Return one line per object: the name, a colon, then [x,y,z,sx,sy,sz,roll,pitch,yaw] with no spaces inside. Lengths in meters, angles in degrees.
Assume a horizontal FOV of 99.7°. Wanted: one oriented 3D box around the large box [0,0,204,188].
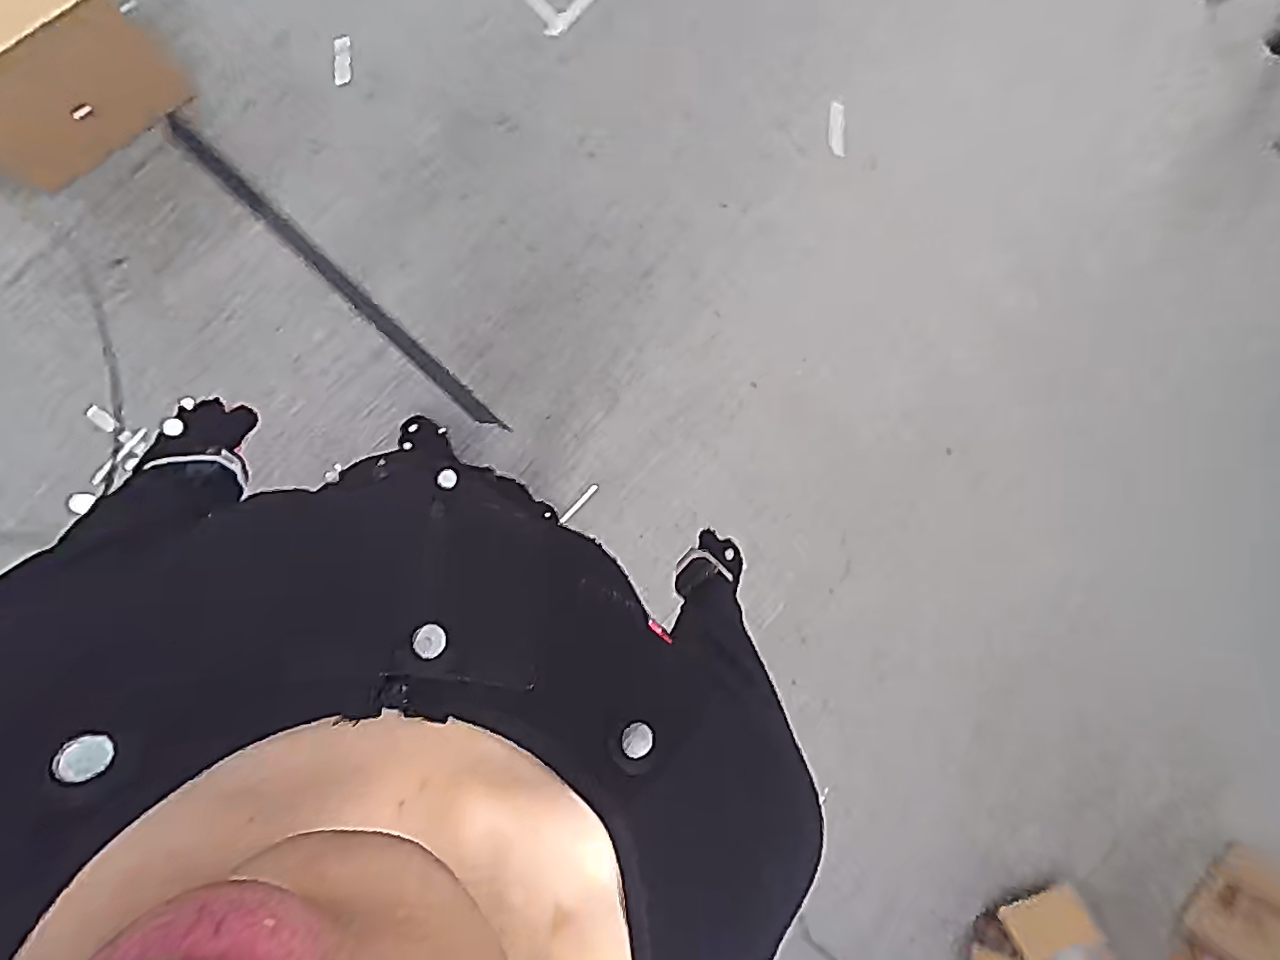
large box: [-1.204,-0.874,1.050,0.408,0.320,0.320,-42,102,-6]
